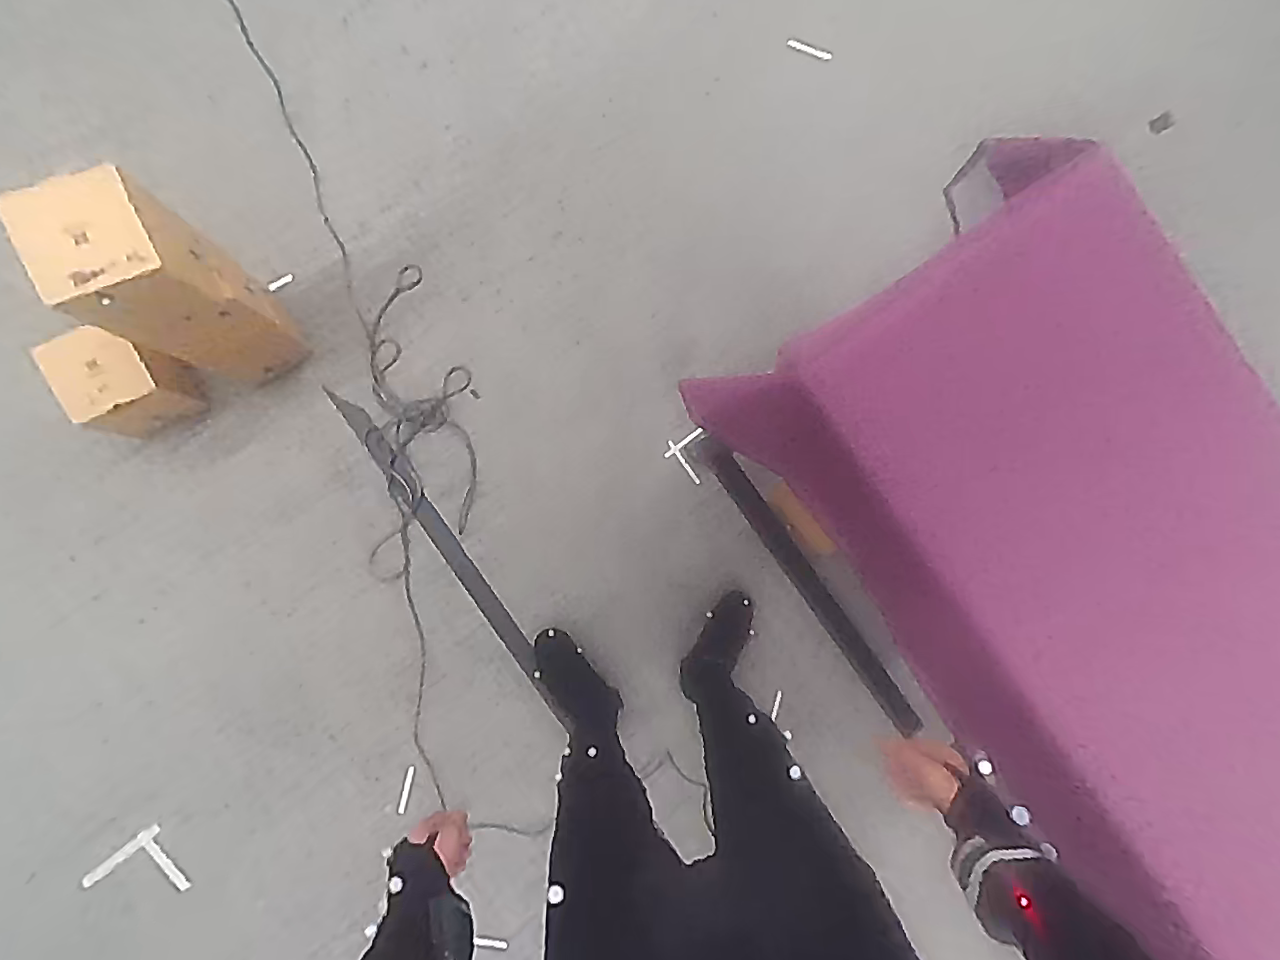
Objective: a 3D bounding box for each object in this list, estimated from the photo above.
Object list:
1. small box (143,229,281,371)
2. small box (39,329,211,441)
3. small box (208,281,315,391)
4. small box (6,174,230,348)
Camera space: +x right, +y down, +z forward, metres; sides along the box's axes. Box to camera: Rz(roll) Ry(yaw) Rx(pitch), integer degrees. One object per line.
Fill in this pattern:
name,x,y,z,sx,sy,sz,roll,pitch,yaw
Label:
small box,-0.848,-0.333,1.038,0.179,0.176,0.168,-33,91,-9
small box,-1.083,-0.201,1.154,0.168,0.176,0.179,-30,91,-9
small box,-0.872,-0.322,1.198,0.168,0.176,0.179,-35,92,-9
small box,-0.824,-0.343,0.875,0.168,0.176,0.179,-26,89,-9
